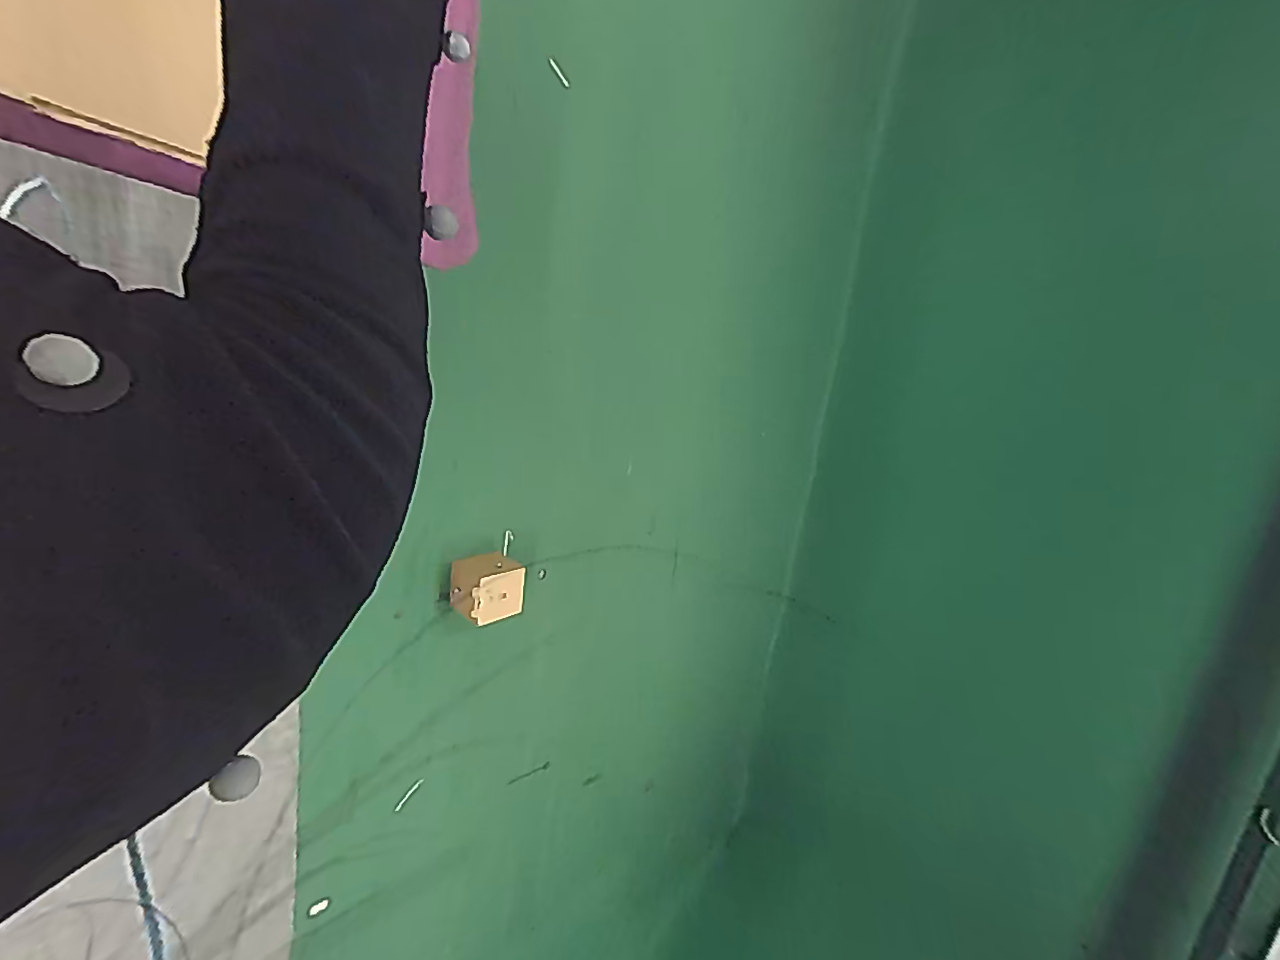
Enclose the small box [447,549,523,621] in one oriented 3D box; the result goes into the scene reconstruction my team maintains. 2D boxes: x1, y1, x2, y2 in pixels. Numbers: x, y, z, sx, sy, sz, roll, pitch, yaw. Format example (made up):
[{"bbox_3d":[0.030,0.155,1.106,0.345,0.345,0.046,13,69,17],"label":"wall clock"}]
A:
[{"bbox_3d":[-0.514,0.340,1.797,0.179,0.176,0.168,-7,109,-49],"label":"small box"}]
